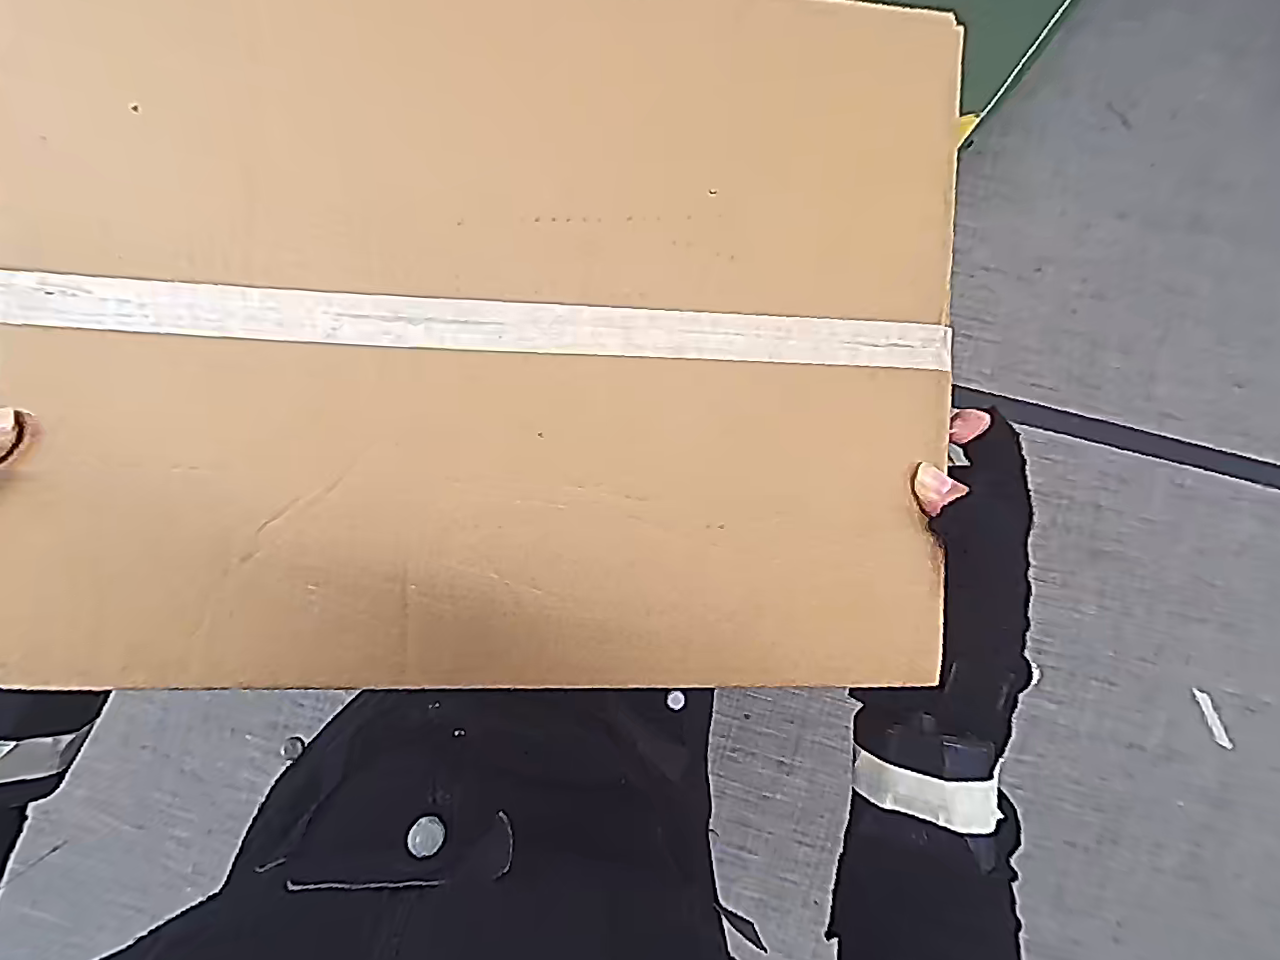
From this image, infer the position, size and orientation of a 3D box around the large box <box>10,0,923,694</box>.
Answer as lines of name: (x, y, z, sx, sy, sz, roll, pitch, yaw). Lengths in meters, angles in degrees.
large box: (-0.074, -0.060, 0.395, 0.408, 0.320, 0.320, 2, 89, -5)
